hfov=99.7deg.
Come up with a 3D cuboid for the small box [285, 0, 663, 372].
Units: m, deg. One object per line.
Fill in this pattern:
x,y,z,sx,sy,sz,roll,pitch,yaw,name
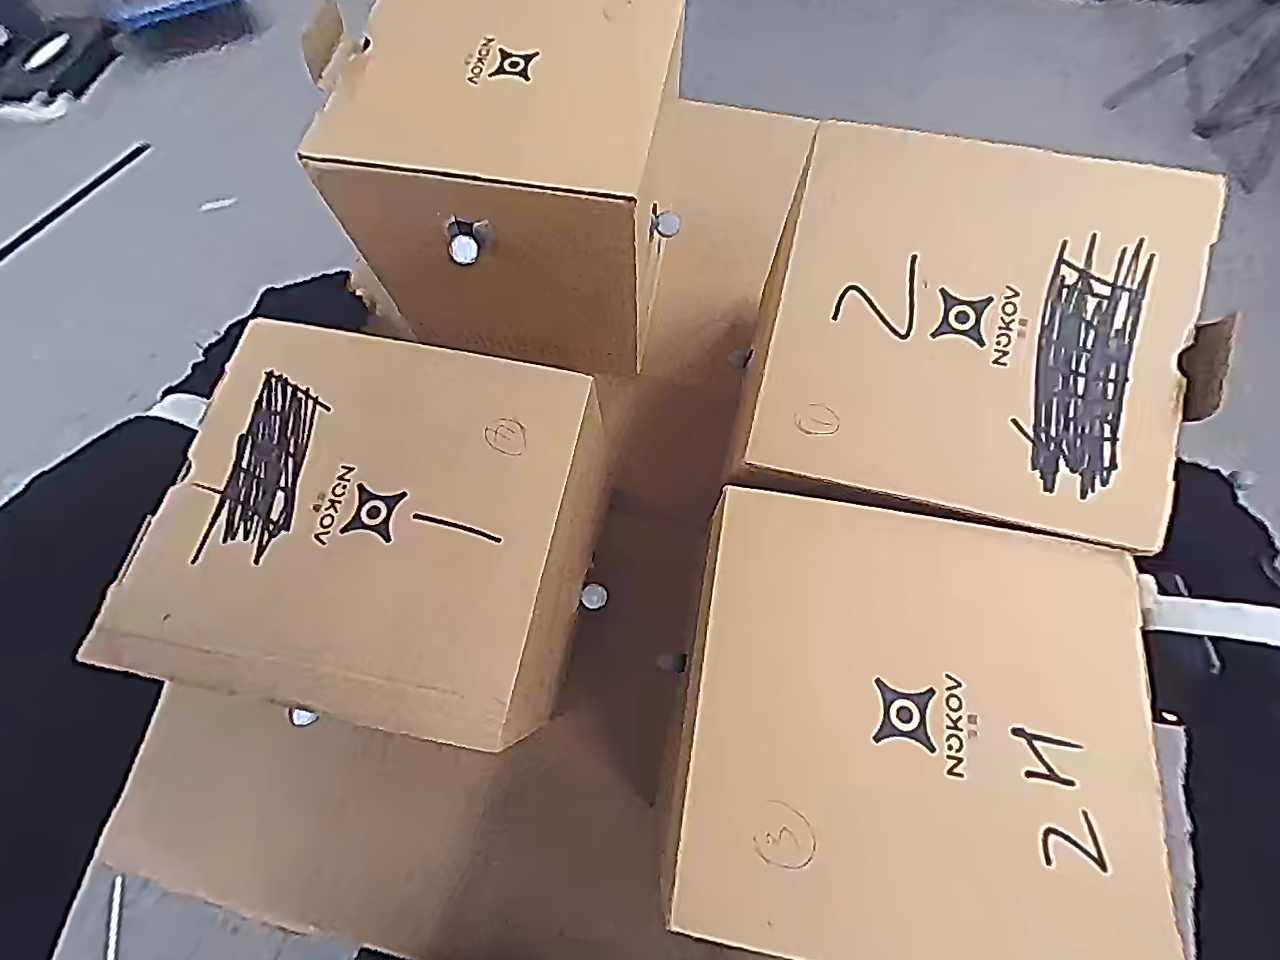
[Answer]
-0.084,-0.192,0.372,0.179,0.176,0.168,8,71,4,small box
